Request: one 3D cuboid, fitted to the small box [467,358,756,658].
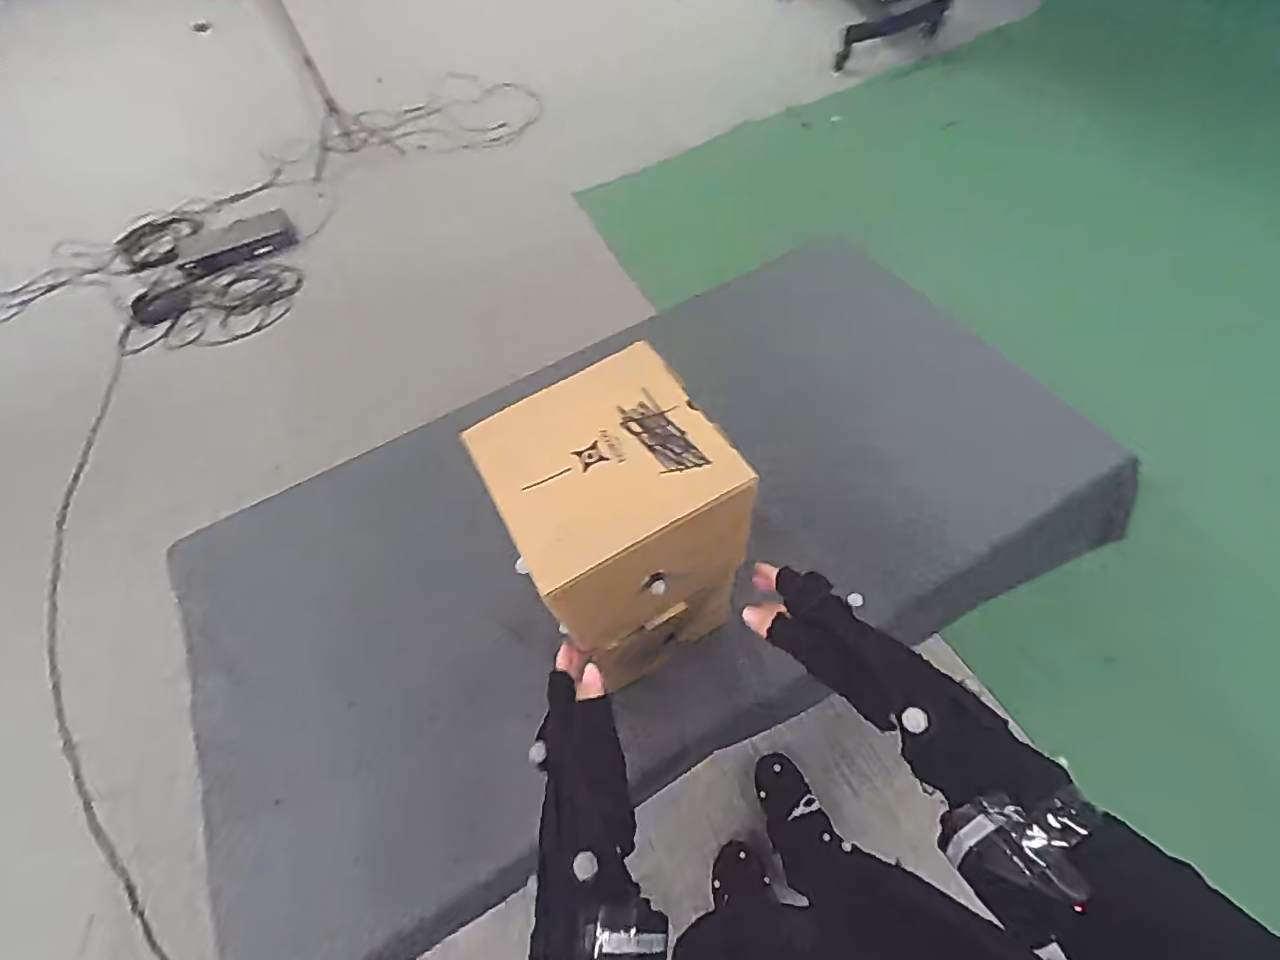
[{"bbox_3d":[-0.021,0.031,0.483,0.179,0.176,0.168,-28,60,-10],"label":"small box"}]

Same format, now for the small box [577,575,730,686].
[{"bbox_3d":[-0.014,0.117,0.624,0.168,0.176,0.179,-29,61,-12],"label":"small box"}]
